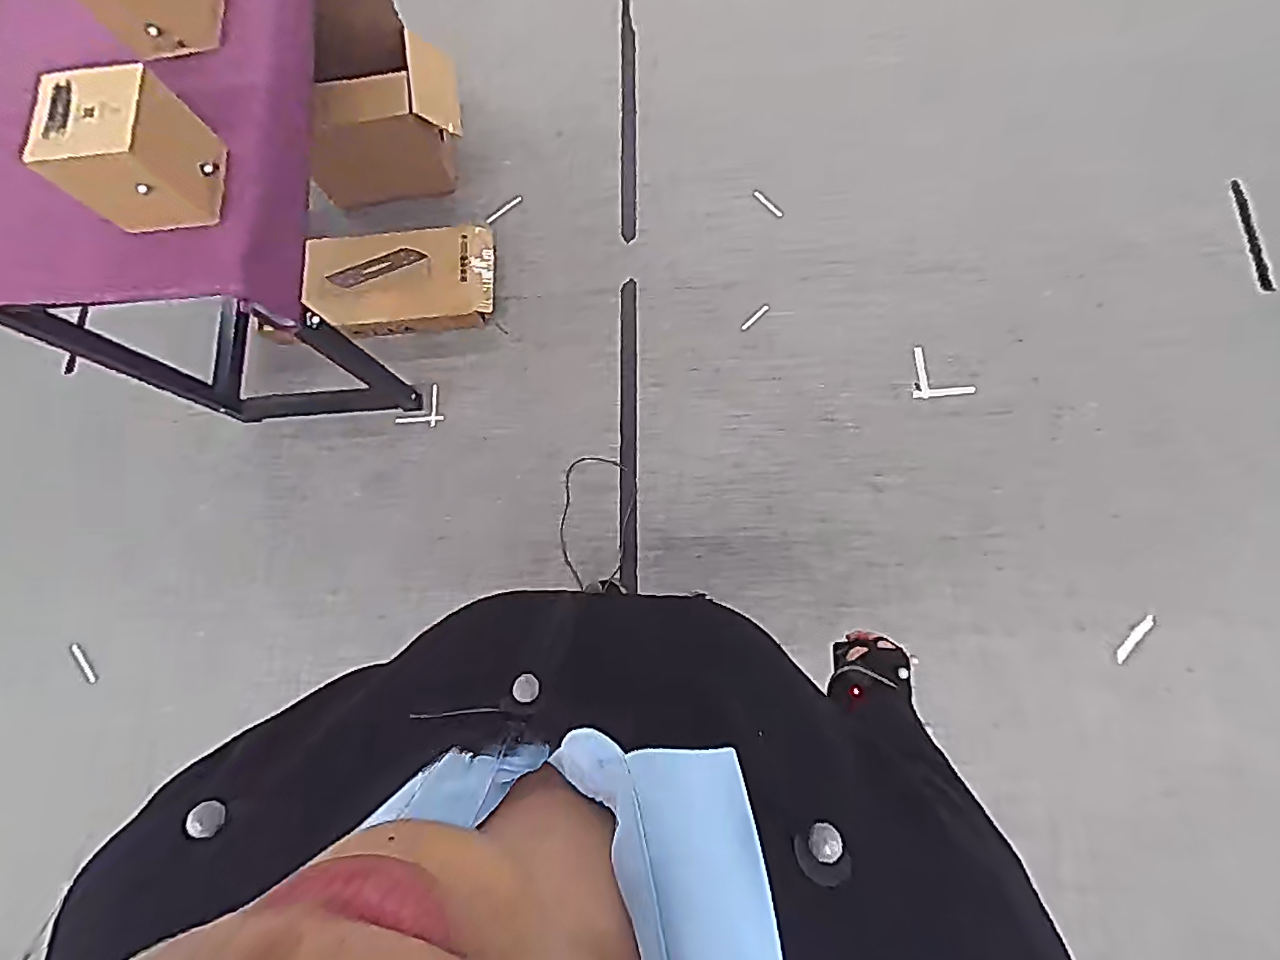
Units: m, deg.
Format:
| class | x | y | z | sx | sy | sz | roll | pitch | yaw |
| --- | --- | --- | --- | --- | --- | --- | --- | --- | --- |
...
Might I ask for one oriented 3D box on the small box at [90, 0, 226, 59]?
| class | x | y | z | sx | sy | sz | roll | pitch | yaw |
| --- | --- | --- | --- | --- | --- | --- | --- | --- | --- |
| small box | -0.907 | -0.929 | 0.994 | 0.168 | 0.176 | 0.179 | -5 | 78 | 6 |
